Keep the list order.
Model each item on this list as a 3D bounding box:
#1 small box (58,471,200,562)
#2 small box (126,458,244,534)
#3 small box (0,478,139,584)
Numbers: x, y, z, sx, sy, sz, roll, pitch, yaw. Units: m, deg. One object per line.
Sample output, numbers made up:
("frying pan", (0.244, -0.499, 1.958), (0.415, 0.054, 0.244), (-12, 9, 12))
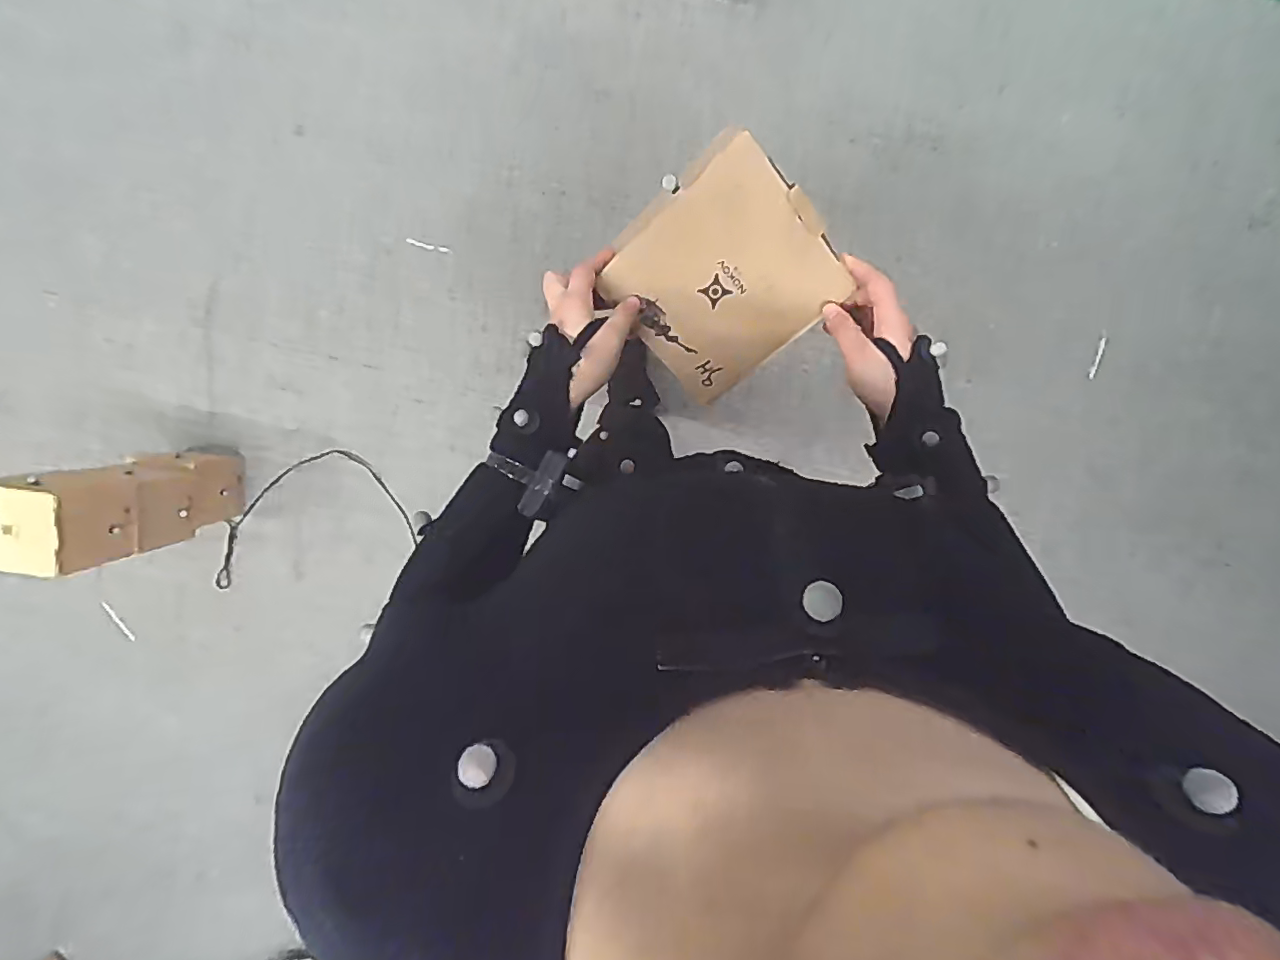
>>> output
("small box", (-1.171, 0.076, 1.244), (0.179, 0.176, 0.168), (8, 99, -1))
("small box", (-1.169, 0.035, 1.403), (0.179, 0.176, 0.168), (5, 98, 1))
("small box", (-1.168, 0.094, 1.082), (0.179, 0.176, 0.168), (7, 98, -1))
